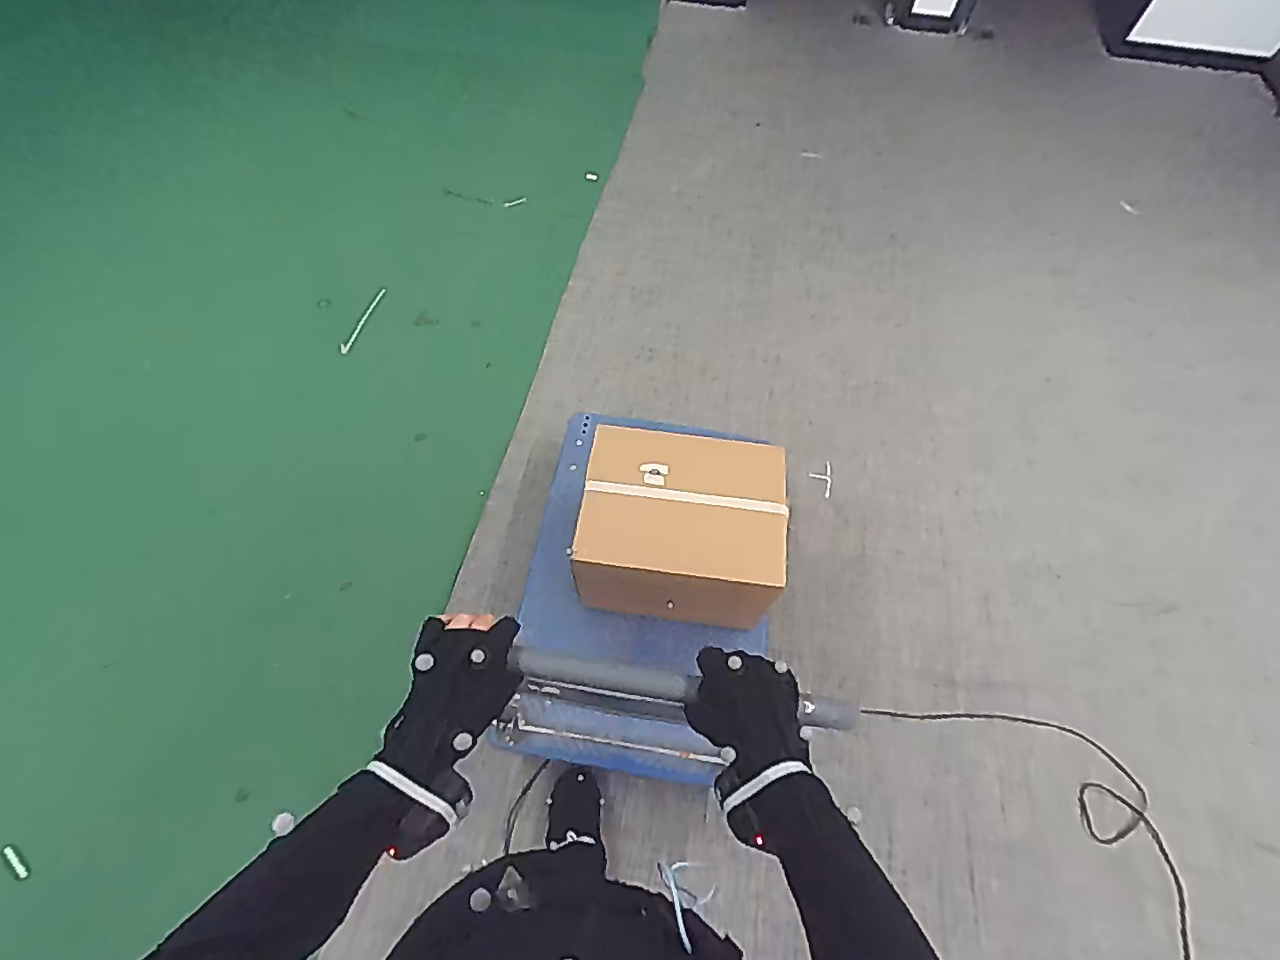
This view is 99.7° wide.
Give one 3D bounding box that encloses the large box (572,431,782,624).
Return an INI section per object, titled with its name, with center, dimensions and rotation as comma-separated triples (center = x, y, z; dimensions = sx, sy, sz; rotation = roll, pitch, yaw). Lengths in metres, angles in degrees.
[large box]
center = 0.087, 0.118, 1.217
dimensions = 0.408, 0.320, 0.320
rotation = 7, 60, 4
